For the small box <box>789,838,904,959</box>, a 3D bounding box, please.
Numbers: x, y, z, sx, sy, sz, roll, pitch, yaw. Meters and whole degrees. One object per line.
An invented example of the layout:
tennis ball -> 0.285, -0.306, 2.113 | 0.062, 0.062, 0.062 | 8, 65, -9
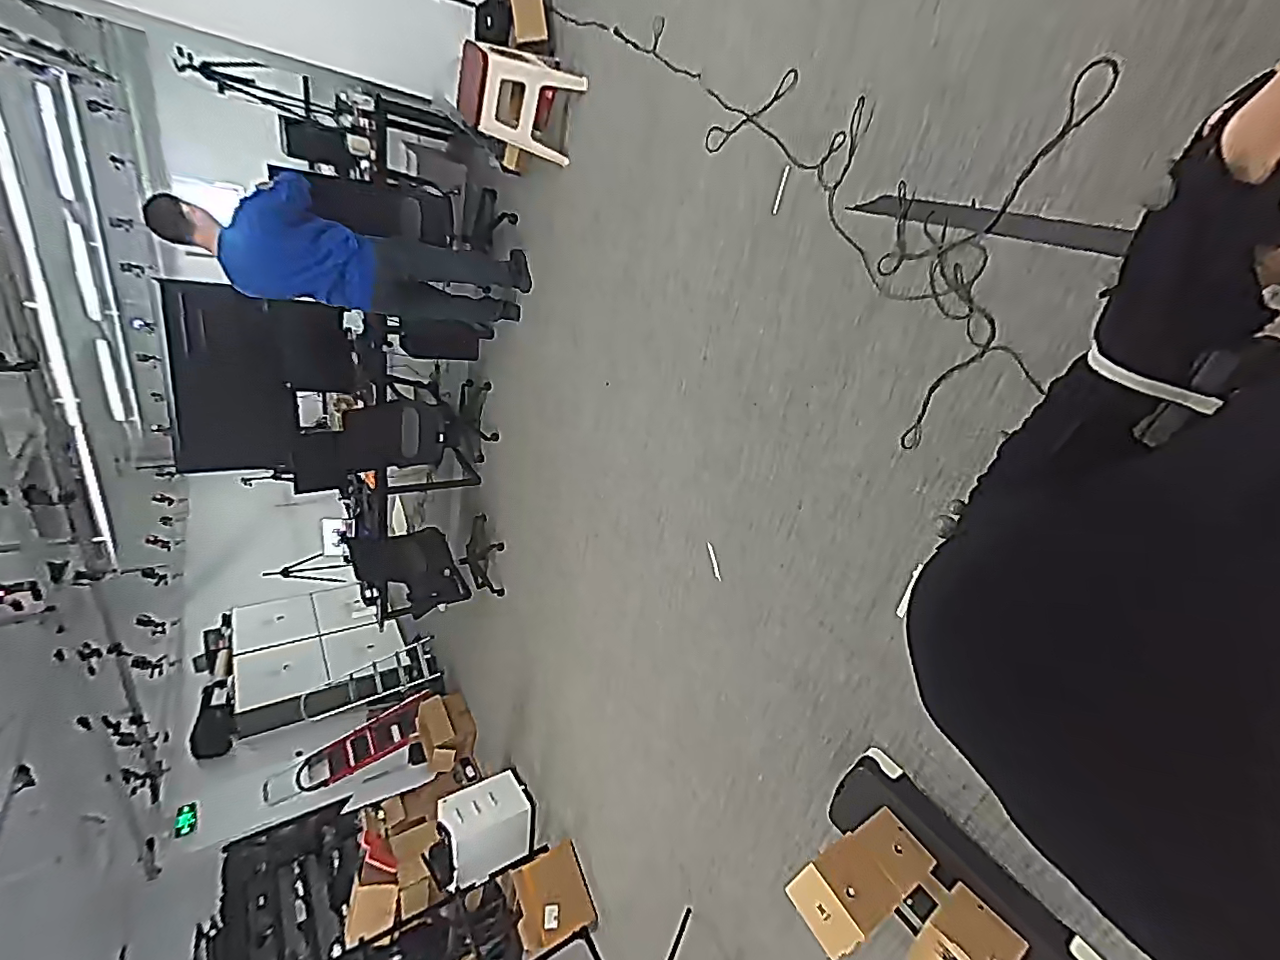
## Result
small box -> 0.520, 1.050, 1.370 | 0.179, 0.176, 0.168 | 47, 131, 39

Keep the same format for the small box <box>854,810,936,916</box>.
small box -> 0.659, 1.038, 1.456 | 0.168, 0.176, 0.179 | 45, 131, 41
